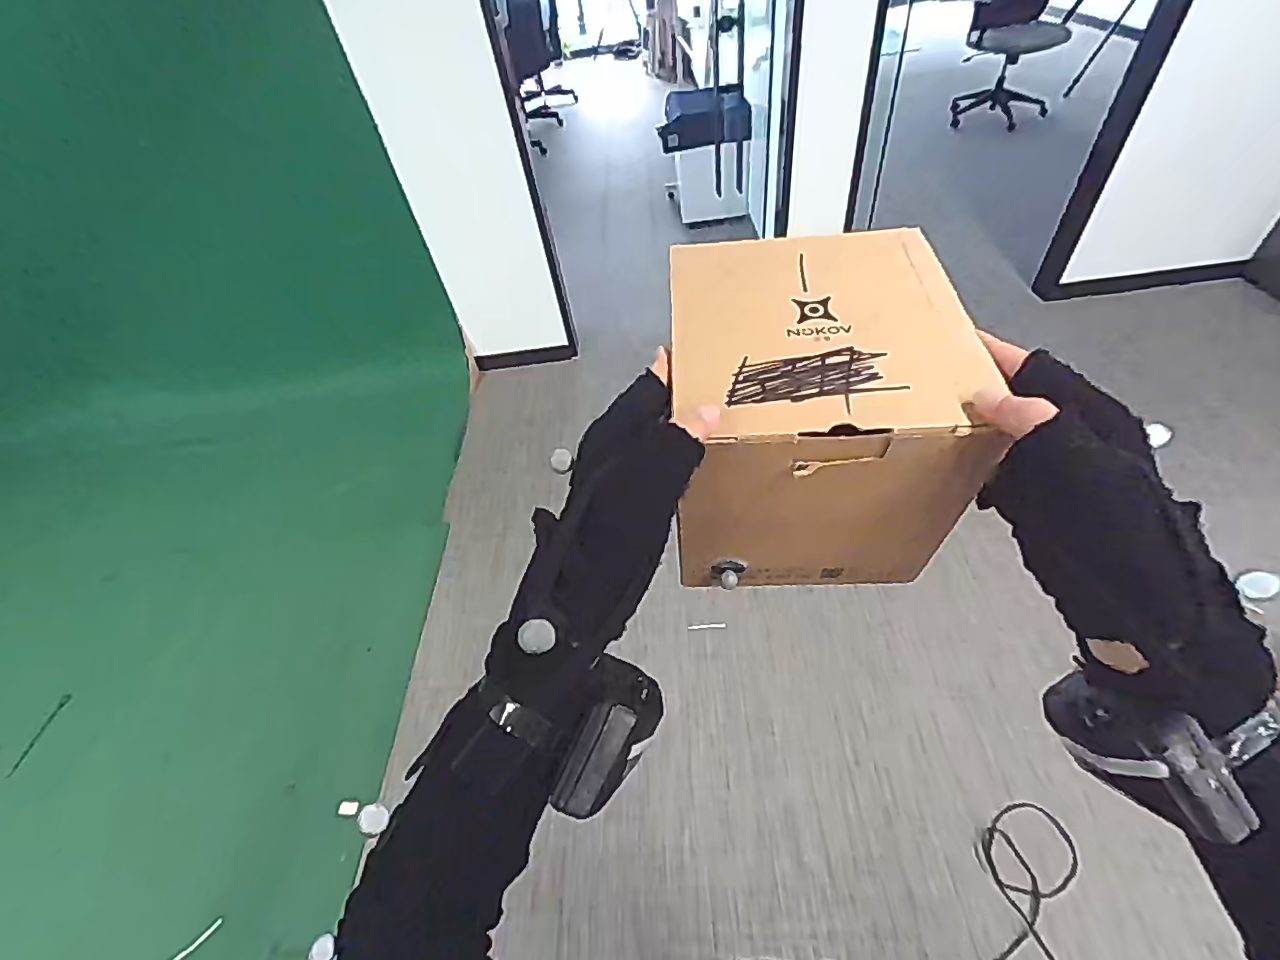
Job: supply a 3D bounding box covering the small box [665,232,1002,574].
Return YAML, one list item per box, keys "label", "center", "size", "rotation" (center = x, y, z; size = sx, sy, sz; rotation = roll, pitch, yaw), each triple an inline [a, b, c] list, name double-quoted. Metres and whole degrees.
- label: "small box"
  center: [0.106, -0.044, 0.380]
  size: [0.168, 0.176, 0.179]
  rotation: [-2, 53, 5]

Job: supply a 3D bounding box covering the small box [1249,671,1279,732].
- label: "small box"
  center: [1.531, 0.501, 1.184]
  size: [0.168, 0.176, 0.179]
  rotation: [-6, 47, 5]
